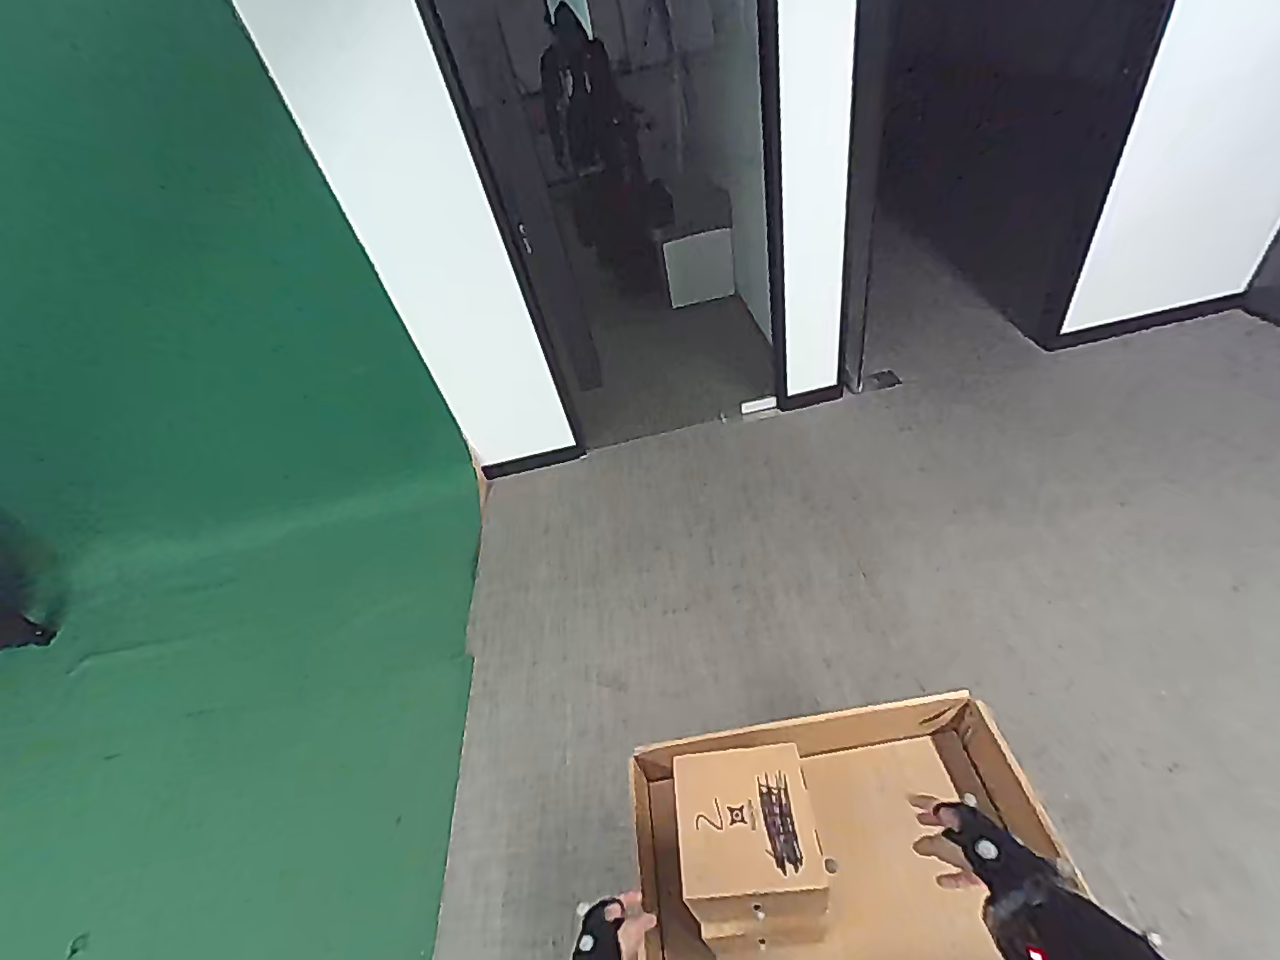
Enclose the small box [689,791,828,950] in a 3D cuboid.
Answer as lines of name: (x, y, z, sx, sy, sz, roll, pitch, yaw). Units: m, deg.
small box: (0.179, 0.610, 0.843, 0.179, 0.176, 0.168, -11, 41, 5)
